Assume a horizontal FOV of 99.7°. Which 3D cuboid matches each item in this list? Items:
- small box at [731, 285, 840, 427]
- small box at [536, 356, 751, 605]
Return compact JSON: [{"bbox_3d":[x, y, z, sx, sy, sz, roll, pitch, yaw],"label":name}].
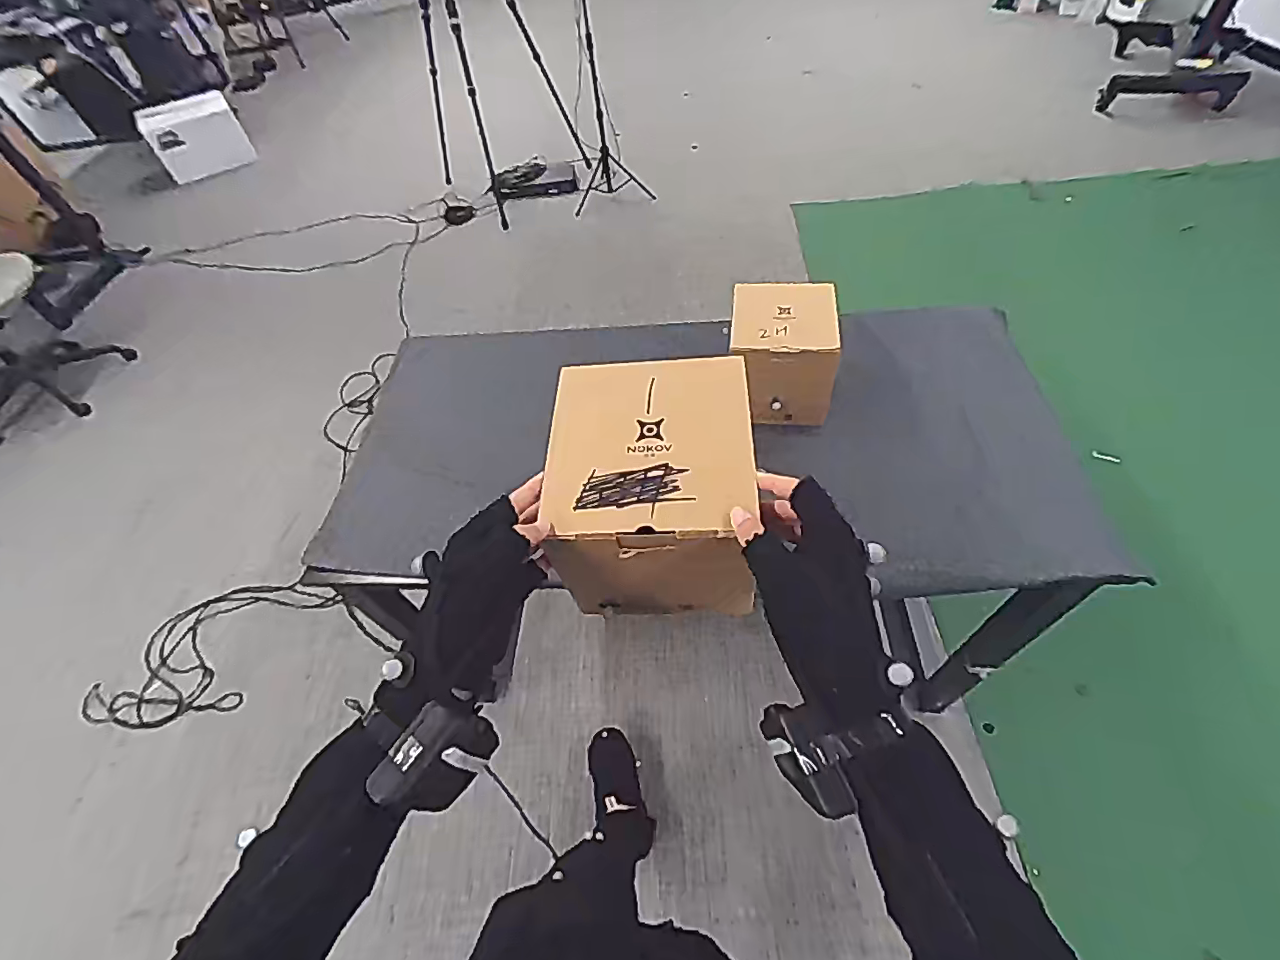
[{"bbox_3d":[0.241,-0.213,0.931,0.168,0.176,0.179,3,54,11],"label":"small box"},{"bbox_3d":[0.016,0.010,0.507,0.168,0.176,0.179,-2,56,7],"label":"small box"}]
